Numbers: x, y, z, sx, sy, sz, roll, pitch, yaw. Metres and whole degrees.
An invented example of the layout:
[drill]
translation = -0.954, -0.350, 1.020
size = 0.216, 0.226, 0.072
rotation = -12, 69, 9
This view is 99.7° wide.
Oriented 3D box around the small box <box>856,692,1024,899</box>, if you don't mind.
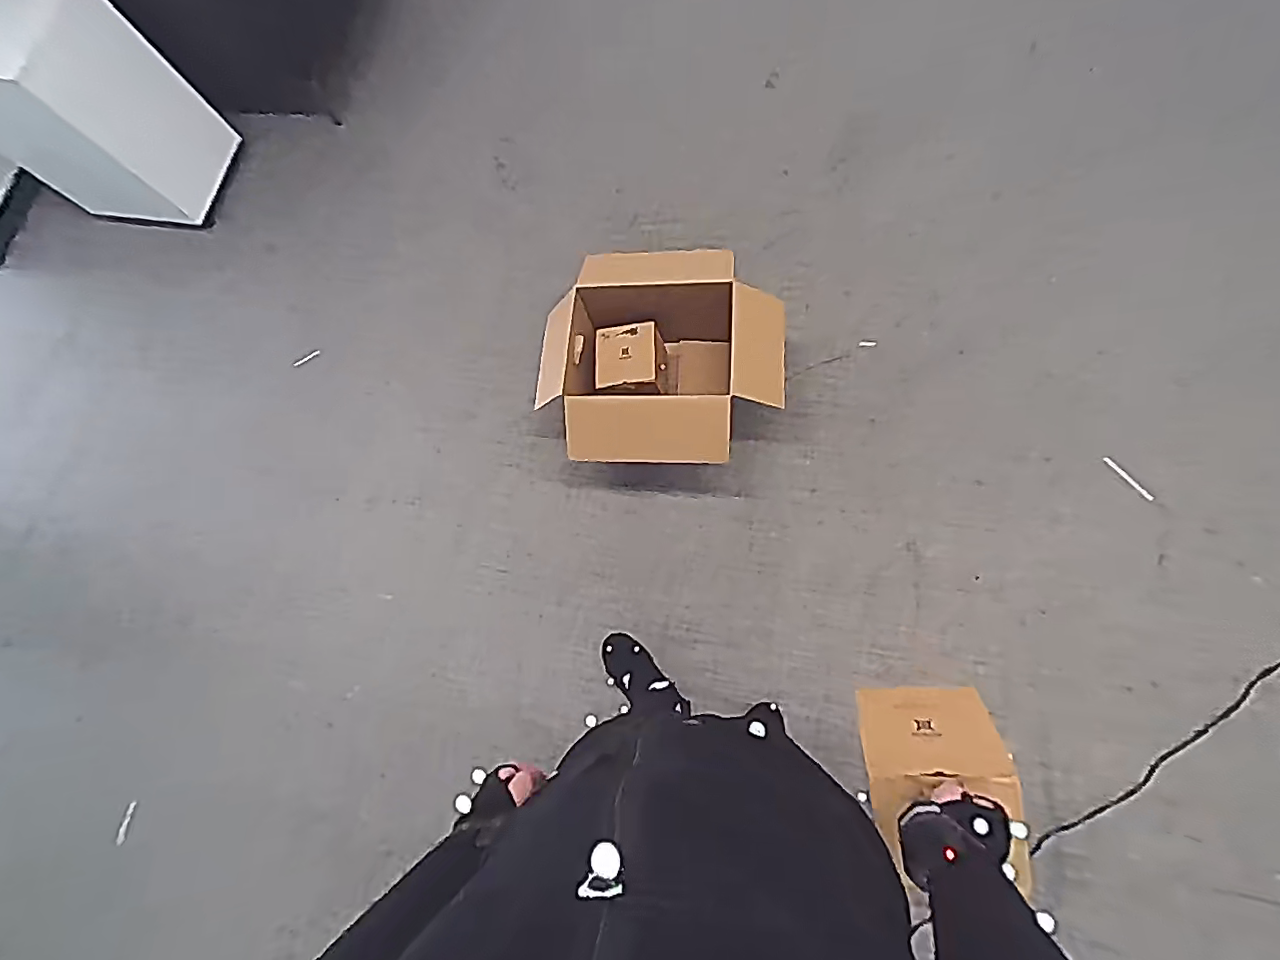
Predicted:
[small box]
translation = 0.389, 0.407, 0.721
size = 0.168, 0.179, 0.176
rotation = -7, 99, 20
